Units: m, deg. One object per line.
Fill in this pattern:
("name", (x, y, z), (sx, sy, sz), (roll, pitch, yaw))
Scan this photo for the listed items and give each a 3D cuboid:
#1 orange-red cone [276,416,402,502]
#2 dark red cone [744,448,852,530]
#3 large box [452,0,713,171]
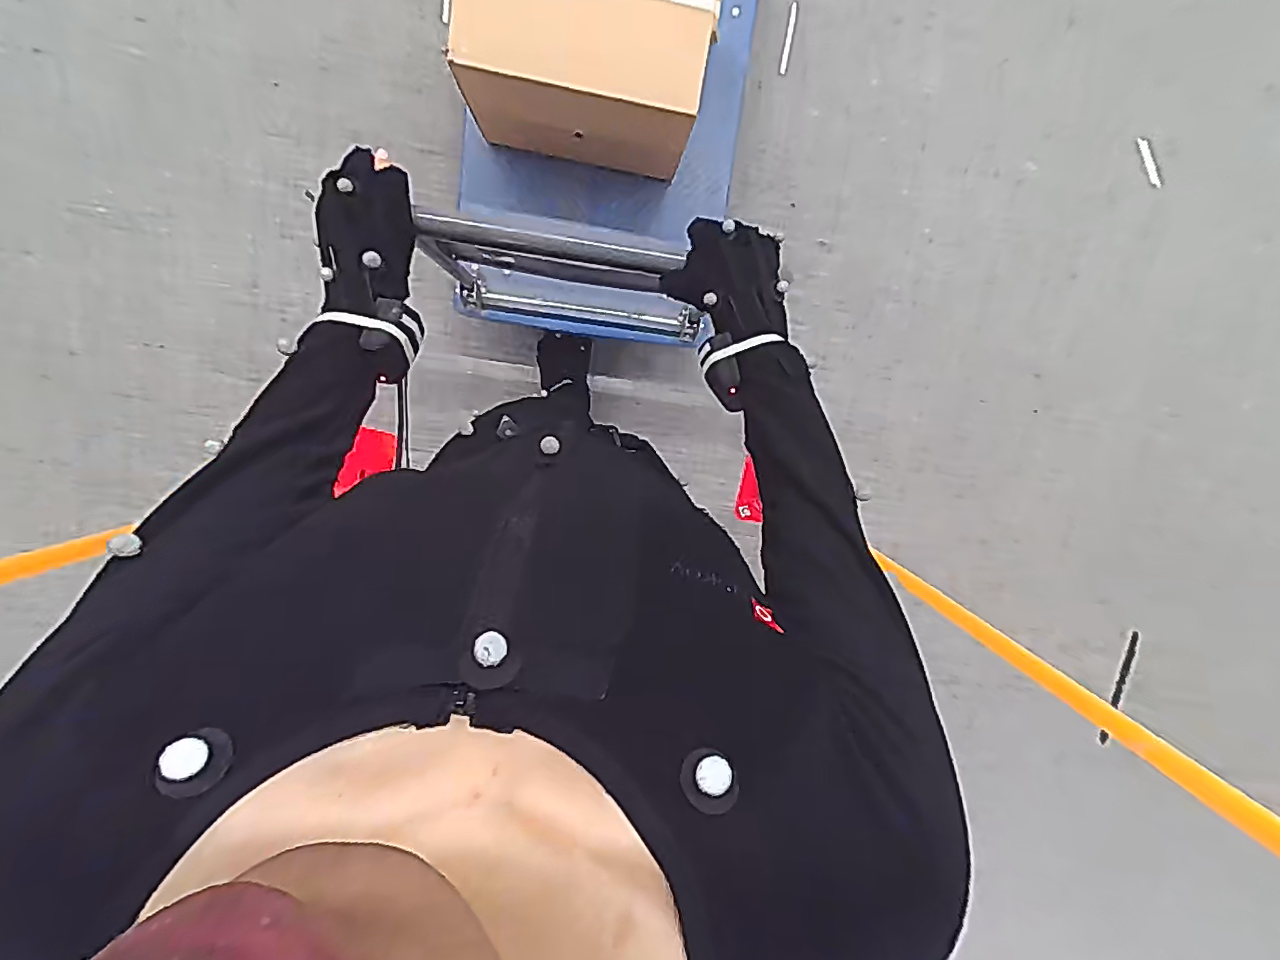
("orange-red cone", (-0.724, -0.022, 1.249), (0.198, 0.360, 0.199), (15, 98, -8))
("dark red cone", (0.406, 0.051, 1.318), (0.201, 0.394, 0.202), (8, 101, -7))
("large box", (-0.088, -0.809, 0.986), (0.408, 0.320, 0.320), (8, 101, -5))
